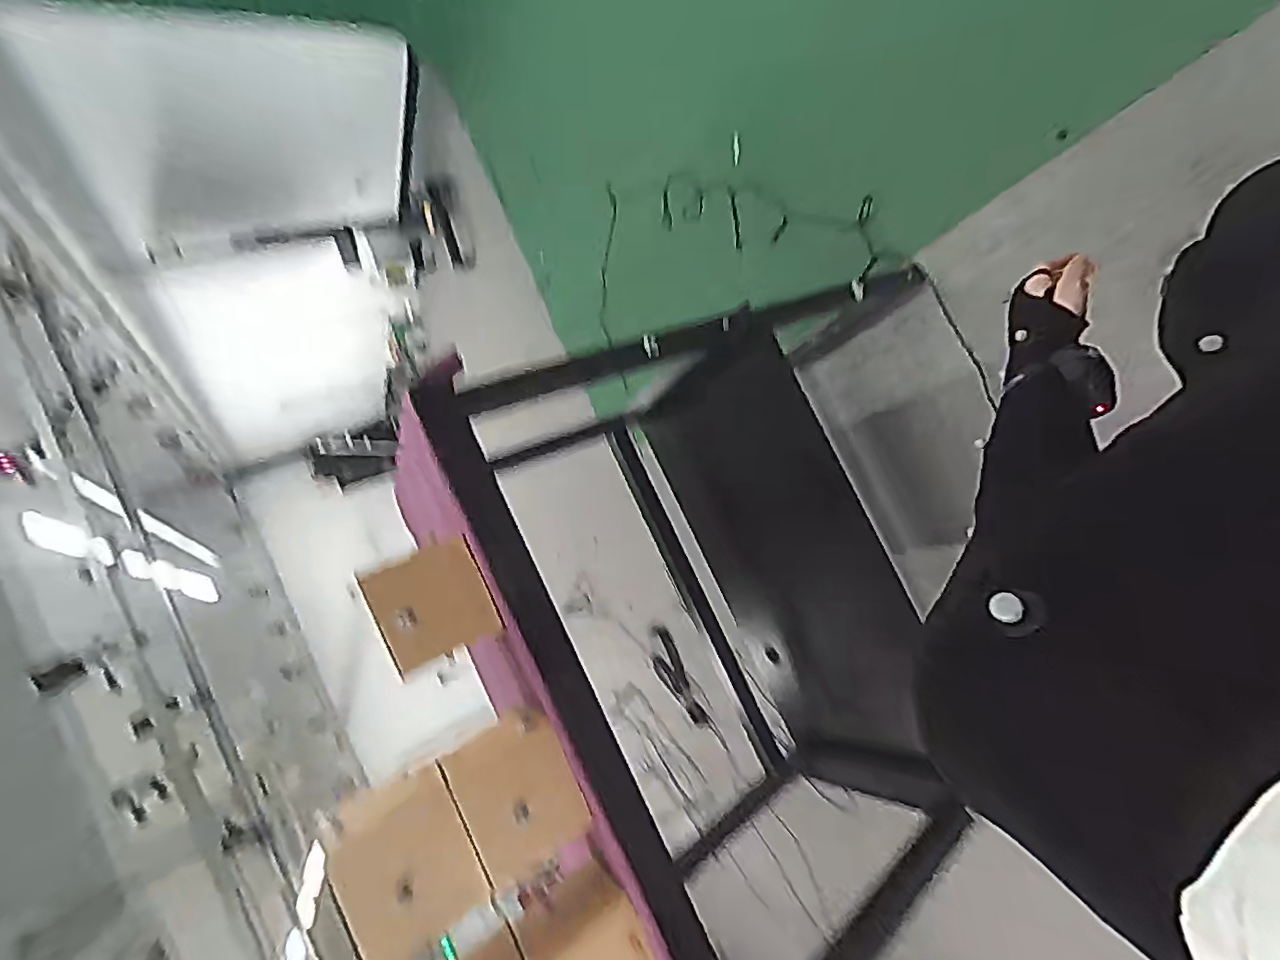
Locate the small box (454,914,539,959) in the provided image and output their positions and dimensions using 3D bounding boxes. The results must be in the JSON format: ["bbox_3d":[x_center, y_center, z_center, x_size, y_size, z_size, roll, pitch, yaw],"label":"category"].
[{"bbox_3d":[-0.210,0.800,0.792,0.179,0.176,0.168,-24,89,62],"label":"small box"}]

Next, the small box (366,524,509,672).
[{"bbox_3d":[-0.339,0.191,0.908,0.168,0.176,0.179,-22,92,61],"label":"small box"}]

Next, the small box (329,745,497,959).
[{"bbox_3d":[-0.332,0.534,0.803,0.168,0.176,0.179,-28,86,61],"label":"small box"}]

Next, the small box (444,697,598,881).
[{"bbox_3d":[-0.196,0.480,0.877,0.168,0.176,0.179,-23,91,61],"label":"small box"}]
